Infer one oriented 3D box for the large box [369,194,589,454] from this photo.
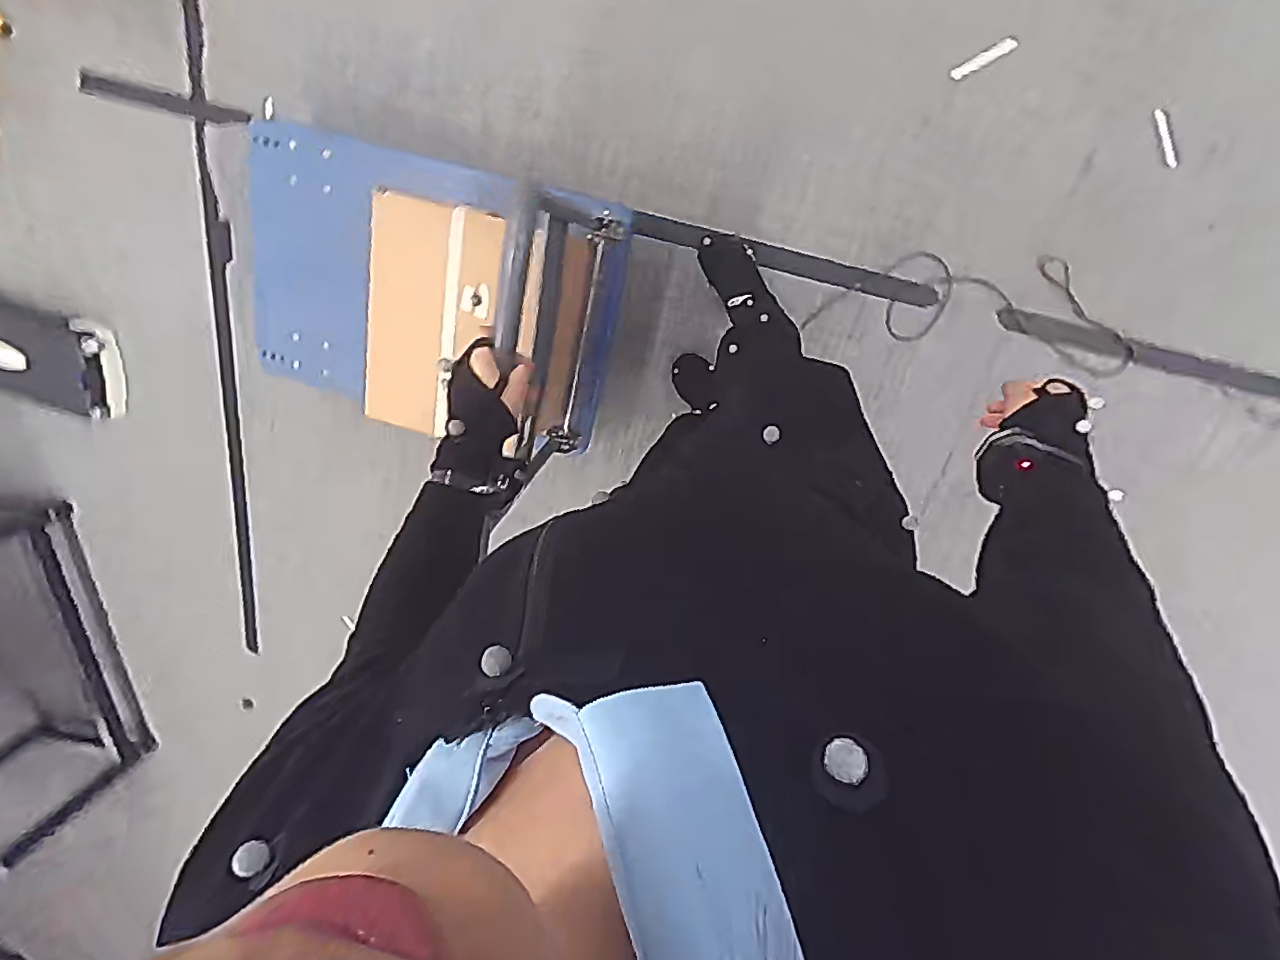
[{"bbox_3d":[-0.316,-0.313,1.110,0.320,0.320,0.408,15,111,3],"label":"large box"}]
